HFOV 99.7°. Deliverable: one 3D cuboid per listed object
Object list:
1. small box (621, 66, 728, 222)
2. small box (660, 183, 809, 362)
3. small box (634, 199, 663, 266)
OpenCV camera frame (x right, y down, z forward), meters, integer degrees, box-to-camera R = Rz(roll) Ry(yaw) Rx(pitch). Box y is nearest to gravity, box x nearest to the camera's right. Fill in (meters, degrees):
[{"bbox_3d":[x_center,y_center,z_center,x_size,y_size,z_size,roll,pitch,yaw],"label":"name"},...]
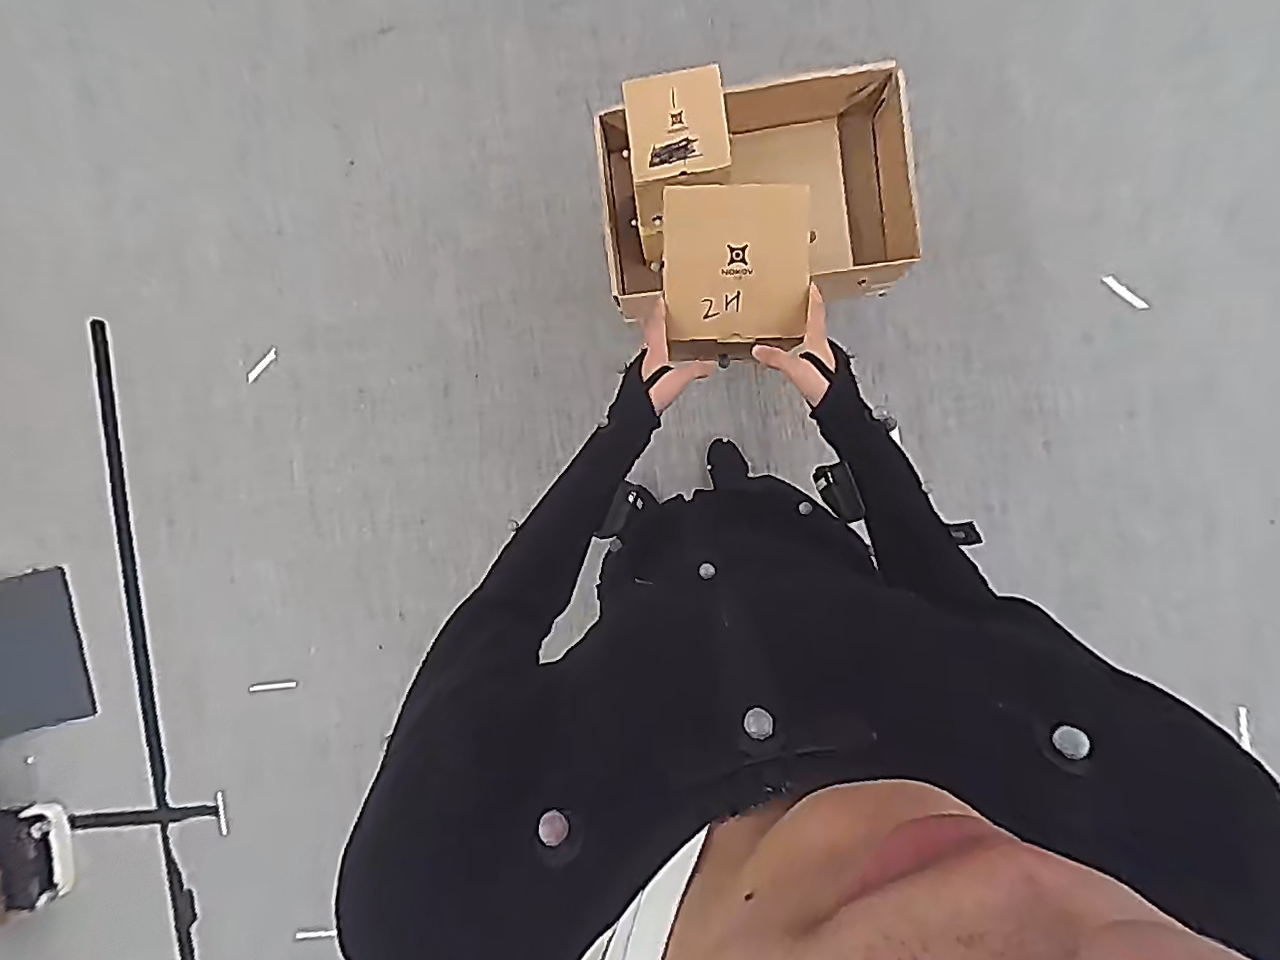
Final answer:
[{"bbox_3d":[0.063,-0.589,0.976,0.168,0.176,0.179,-7,90,4],"label":"small box"},{"bbox_3d":[0.110,-0.251,0.691,0.168,0.176,0.179,0,95,3],"label":"small box"},{"bbox_3d":[0.073,-0.578,1.140,0.168,0.176,0.179,-8,91,4],"label":"small box"}]
